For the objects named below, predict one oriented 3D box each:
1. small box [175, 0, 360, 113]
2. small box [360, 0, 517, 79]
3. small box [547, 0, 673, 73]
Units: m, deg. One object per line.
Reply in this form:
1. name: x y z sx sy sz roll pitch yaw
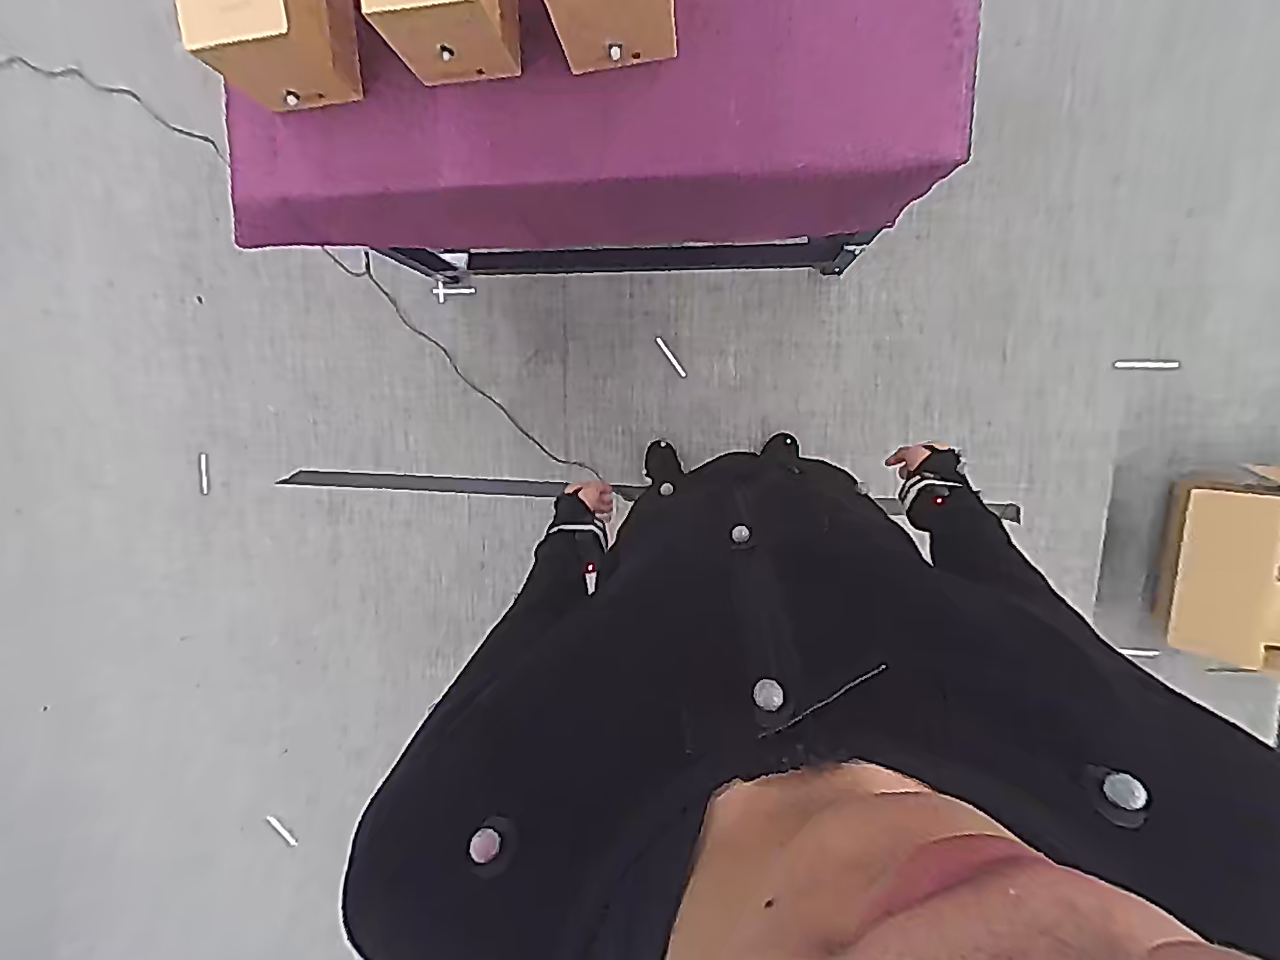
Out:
1. small box: -0.556 -0.702 0.819 0.168 0.176 0.179 -2 96 8
2. small box: -0.284 -0.718 0.783 0.168 0.176 0.179 0 97 7
3. small box: -0.044 -0.720 0.754 0.168 0.176 0.179 -4 97 8
